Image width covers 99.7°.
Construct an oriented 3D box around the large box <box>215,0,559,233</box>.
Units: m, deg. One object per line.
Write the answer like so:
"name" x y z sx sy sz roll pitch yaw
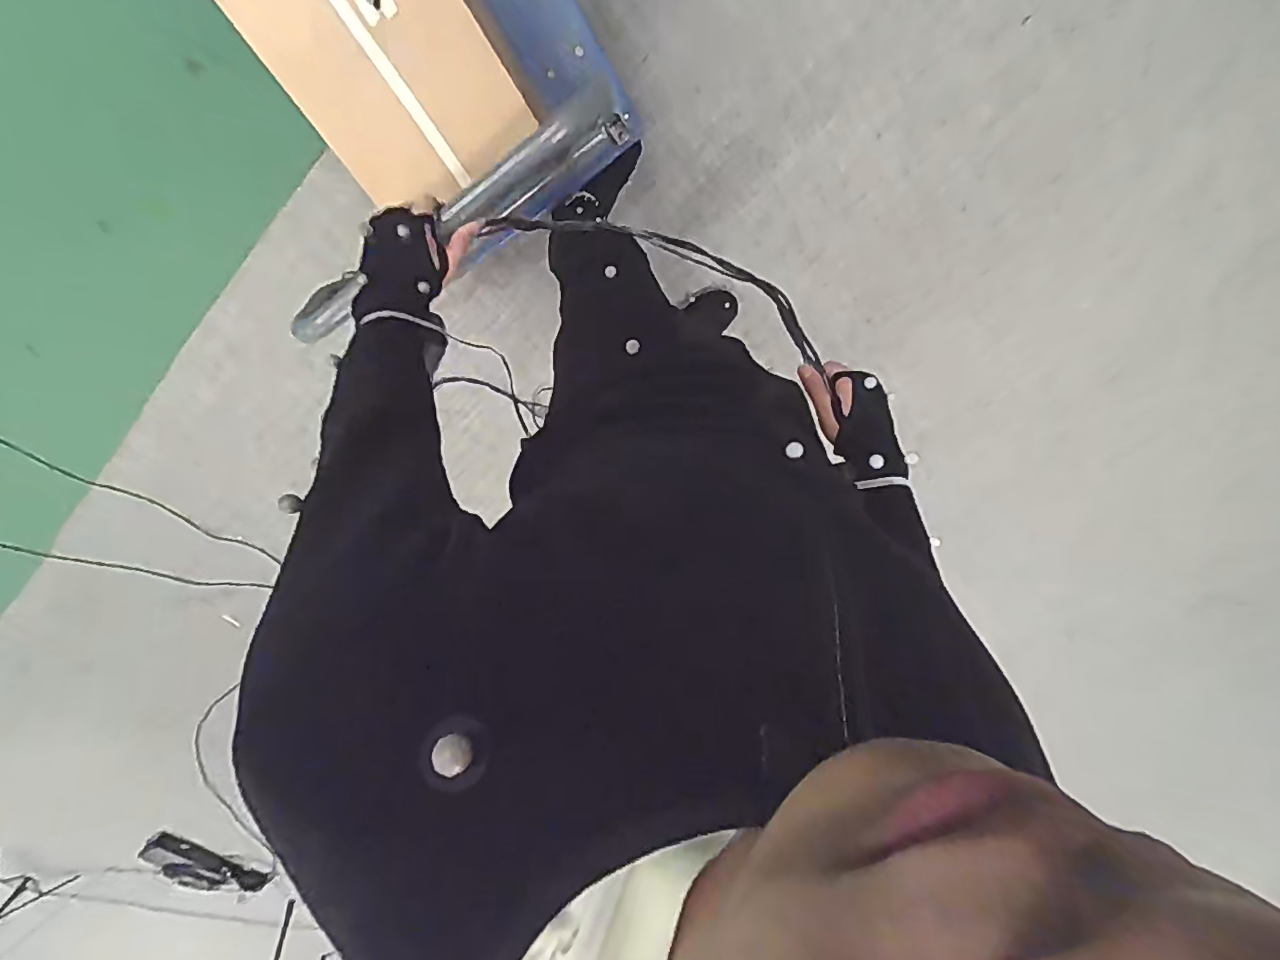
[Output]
"large box" -0.399 -0.721 0.958 0.320 0.320 0.408 -29 117 15
